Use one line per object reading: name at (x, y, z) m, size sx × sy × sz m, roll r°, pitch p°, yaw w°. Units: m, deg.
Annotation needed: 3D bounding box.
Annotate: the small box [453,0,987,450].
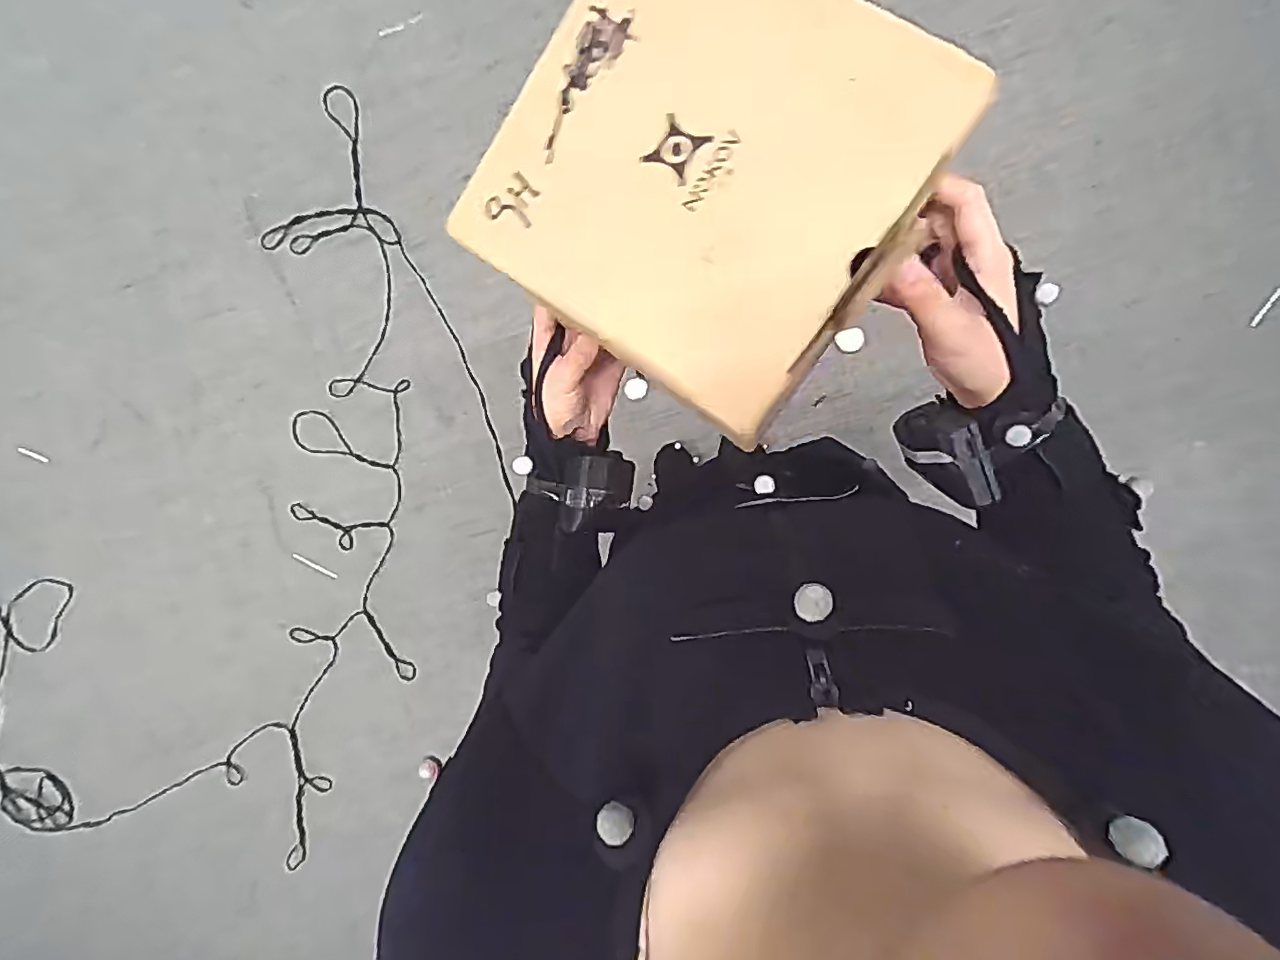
small box at (0.041, -0.132, 0.312) m, size 0.179 × 0.176 × 0.168 m, roll 38°, pitch 99°, yaw 10°
